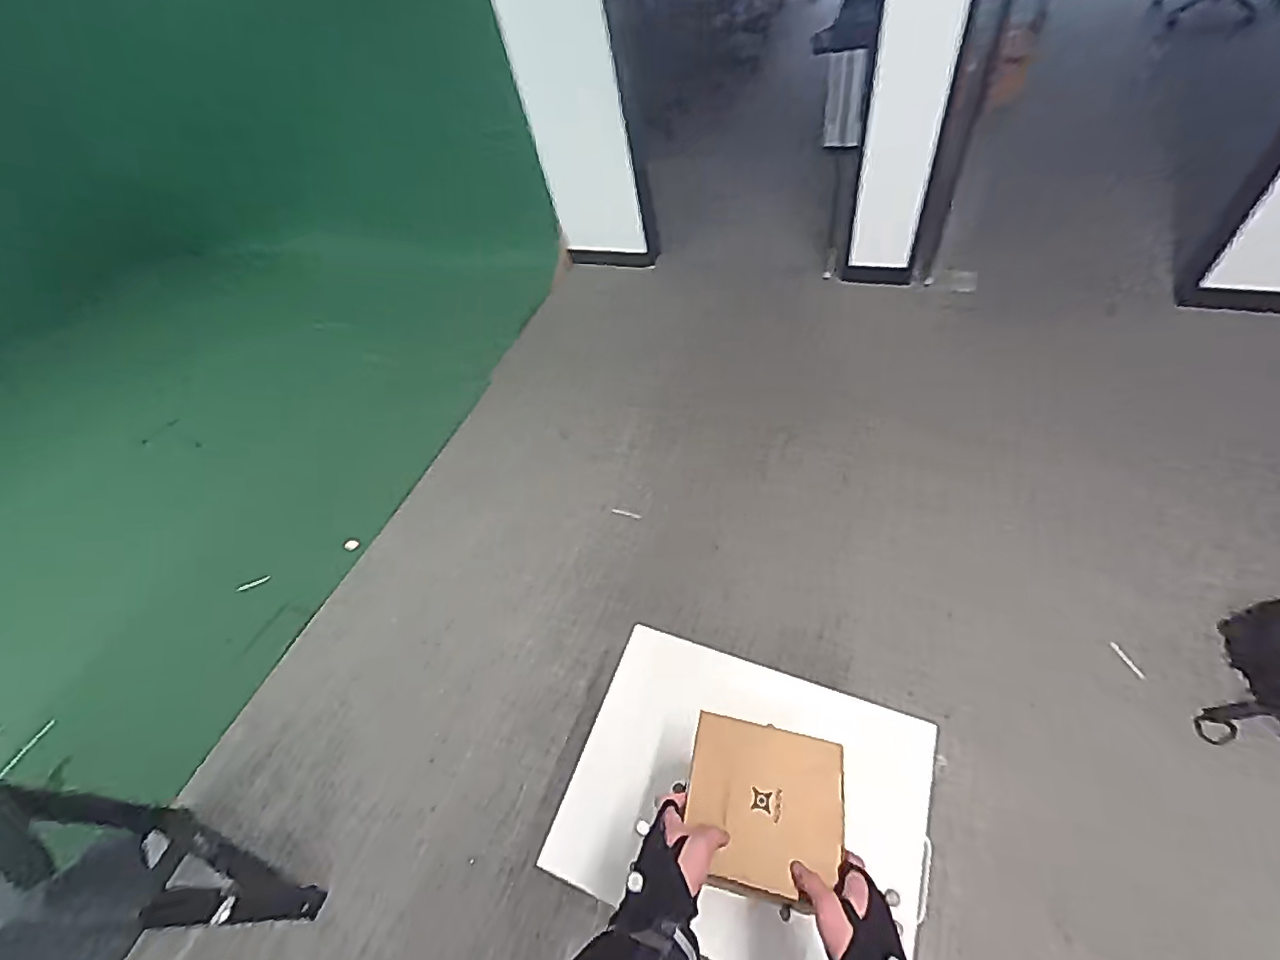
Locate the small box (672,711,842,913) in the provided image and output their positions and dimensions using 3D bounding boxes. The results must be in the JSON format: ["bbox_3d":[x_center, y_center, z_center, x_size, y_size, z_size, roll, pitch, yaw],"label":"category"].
[{"bbox_3d":[0.139,0.409,0.667,0.179,0.176,0.168,8,51,10],"label":"small box"}]
